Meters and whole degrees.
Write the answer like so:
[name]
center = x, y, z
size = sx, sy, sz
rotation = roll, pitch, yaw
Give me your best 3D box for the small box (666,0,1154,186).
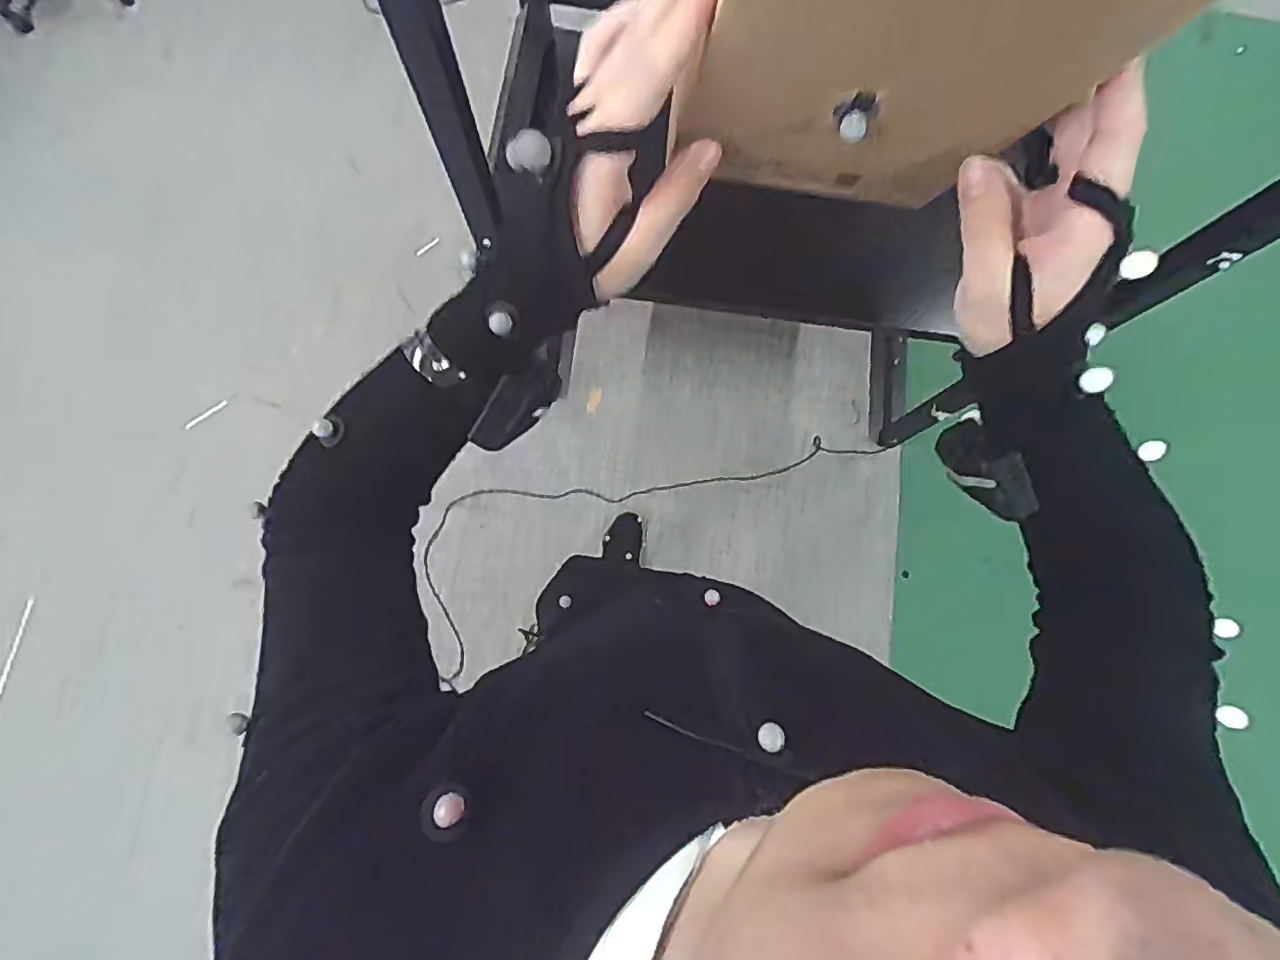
[small box]
center = 0.110, -0.263, 0.241
size = 0.168, 0.176, 0.179
rotation = 5, 93, -7
